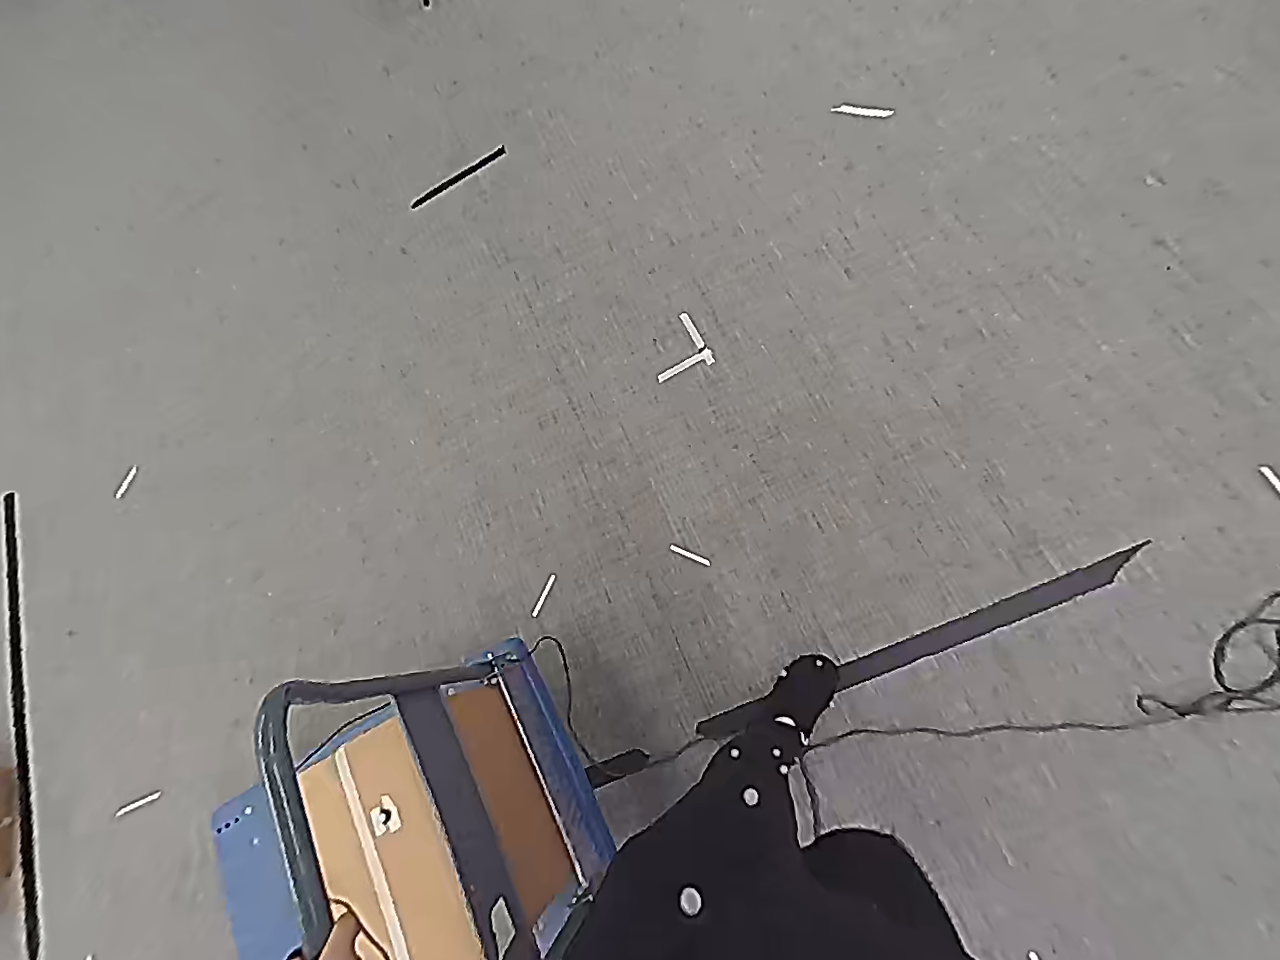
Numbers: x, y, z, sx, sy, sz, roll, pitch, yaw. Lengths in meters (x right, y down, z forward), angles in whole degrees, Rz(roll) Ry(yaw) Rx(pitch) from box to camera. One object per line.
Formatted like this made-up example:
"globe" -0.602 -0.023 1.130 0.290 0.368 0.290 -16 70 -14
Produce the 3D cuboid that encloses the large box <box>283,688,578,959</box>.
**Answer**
"large box" -0.376 0.669 1.023 0.320 0.320 0.408 -32 71 4
